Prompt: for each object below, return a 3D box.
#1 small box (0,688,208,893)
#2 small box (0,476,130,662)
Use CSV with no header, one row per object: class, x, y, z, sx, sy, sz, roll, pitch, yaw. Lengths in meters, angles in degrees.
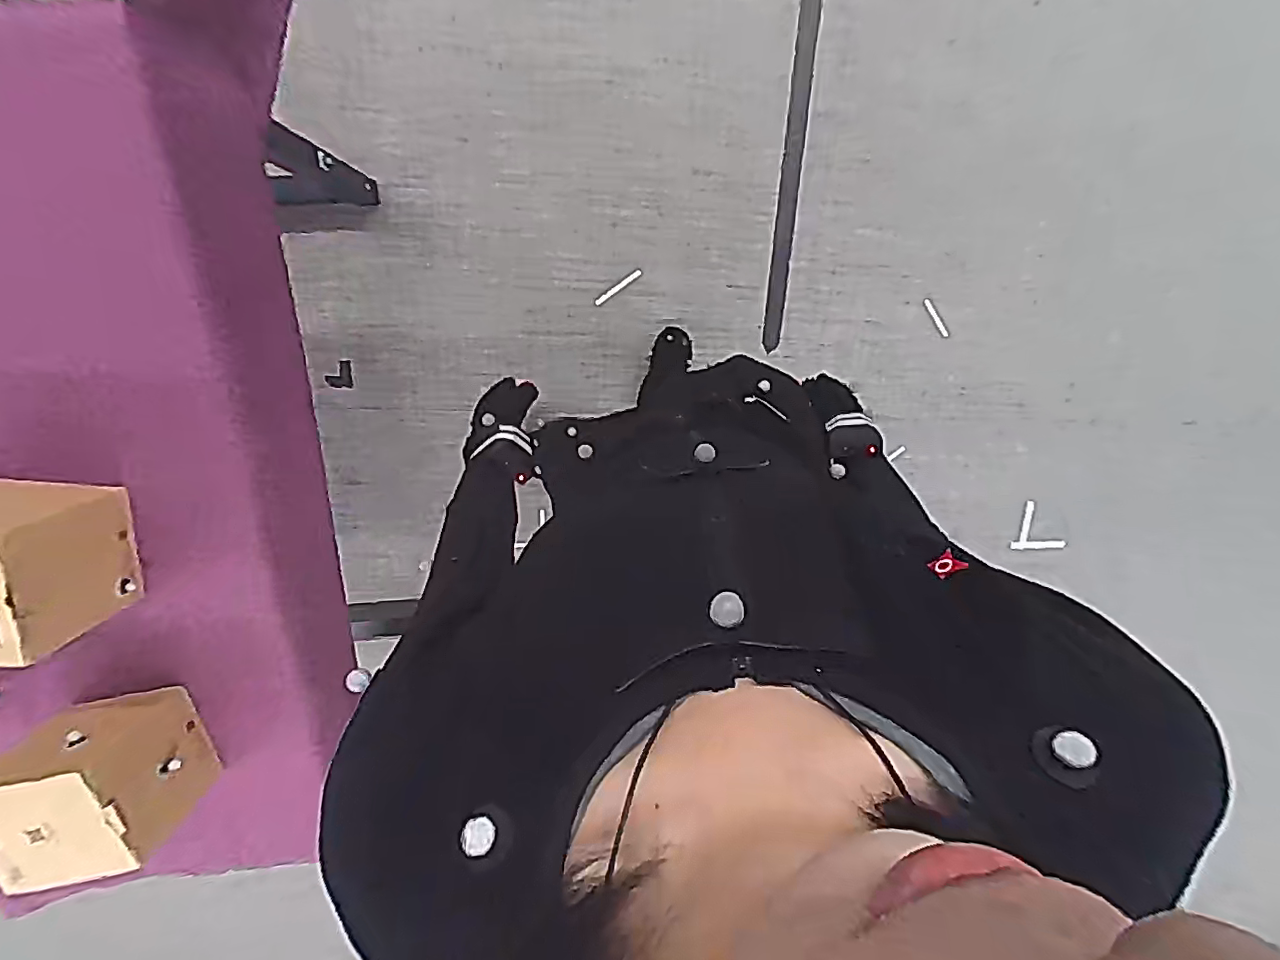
small box,-0.750,0.414,0.747,0.179,0.176,0.168,-11,106,-2
small box,-0.775,0.098,0.656,0.179,0.176,0.168,5,105,-4
